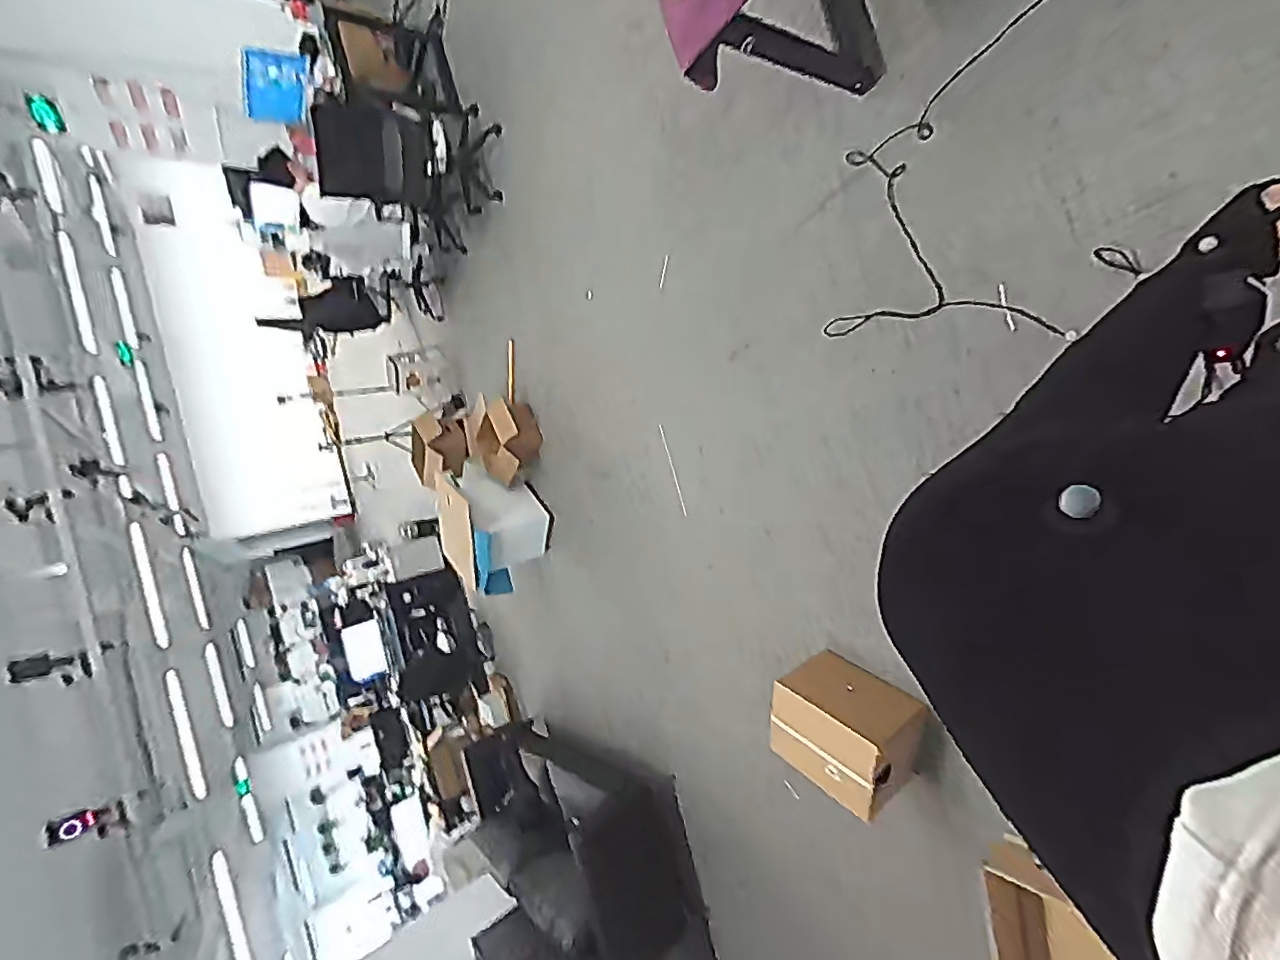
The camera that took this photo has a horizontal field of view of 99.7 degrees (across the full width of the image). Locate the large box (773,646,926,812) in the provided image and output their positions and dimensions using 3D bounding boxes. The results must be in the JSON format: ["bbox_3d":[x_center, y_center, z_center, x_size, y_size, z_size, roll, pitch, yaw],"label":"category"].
[{"bbox_3d":[0.737,0.862,1.940,0.408,0.320,0.320,20,119,48],"label":"large box"}]
